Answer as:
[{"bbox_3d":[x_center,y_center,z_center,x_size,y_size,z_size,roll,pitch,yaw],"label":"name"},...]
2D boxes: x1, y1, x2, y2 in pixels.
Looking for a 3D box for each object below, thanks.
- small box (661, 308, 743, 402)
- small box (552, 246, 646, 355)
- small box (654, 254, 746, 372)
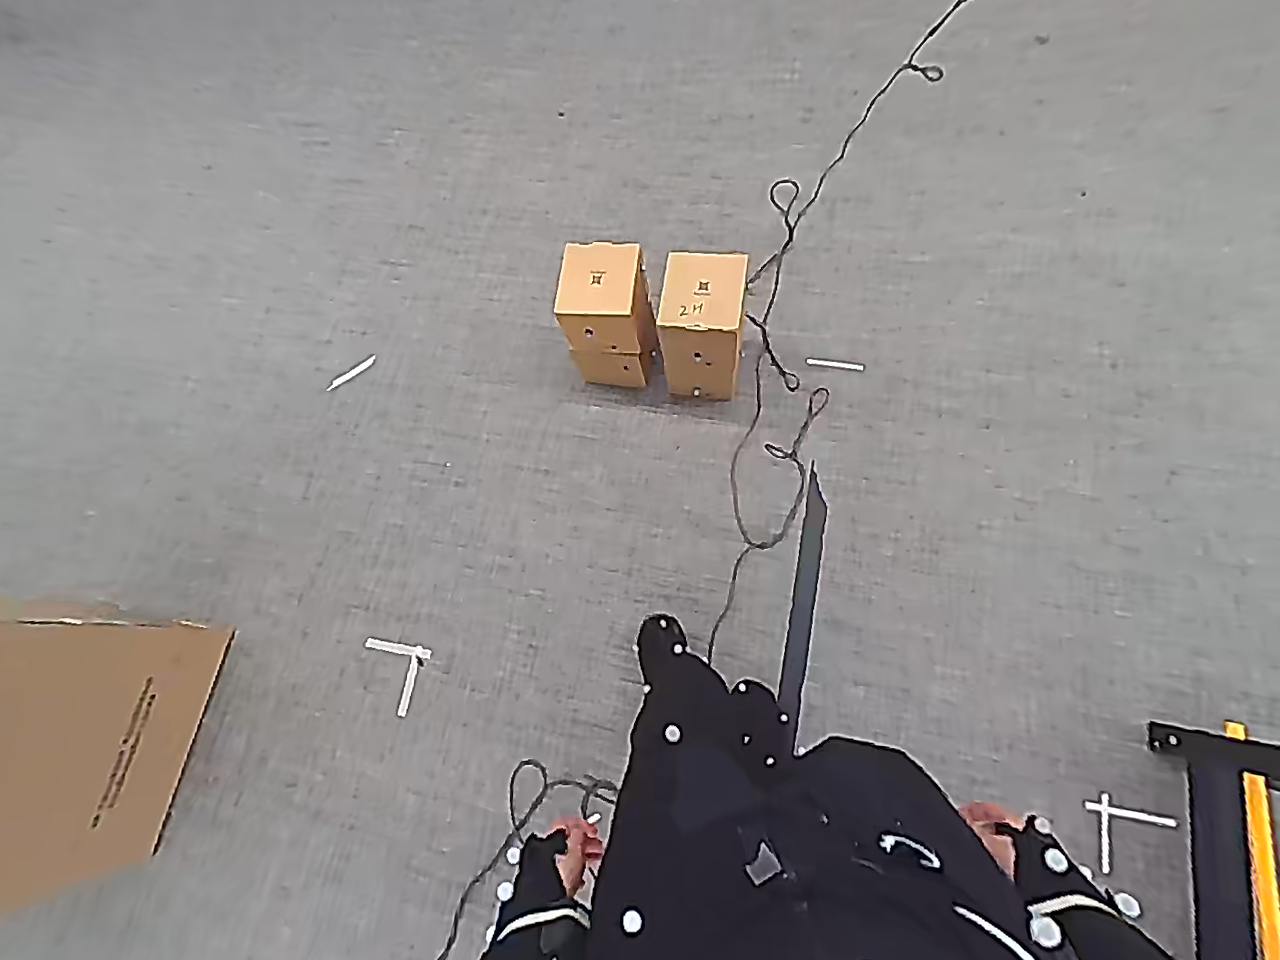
[{"bbox_3d":[0.154,-0.312,1.323,0.168,0.176,0.179,9,76,11],"label":"small box"},{"bbox_3d":[-0.083,-0.396,1.210,0.168,0.176,0.179,4,74,9],"label":"small box"},{"bbox_3d":[0.132,-0.356,1.165,0.168,0.176,0.179,7,76,10],"label":"small box"}]
